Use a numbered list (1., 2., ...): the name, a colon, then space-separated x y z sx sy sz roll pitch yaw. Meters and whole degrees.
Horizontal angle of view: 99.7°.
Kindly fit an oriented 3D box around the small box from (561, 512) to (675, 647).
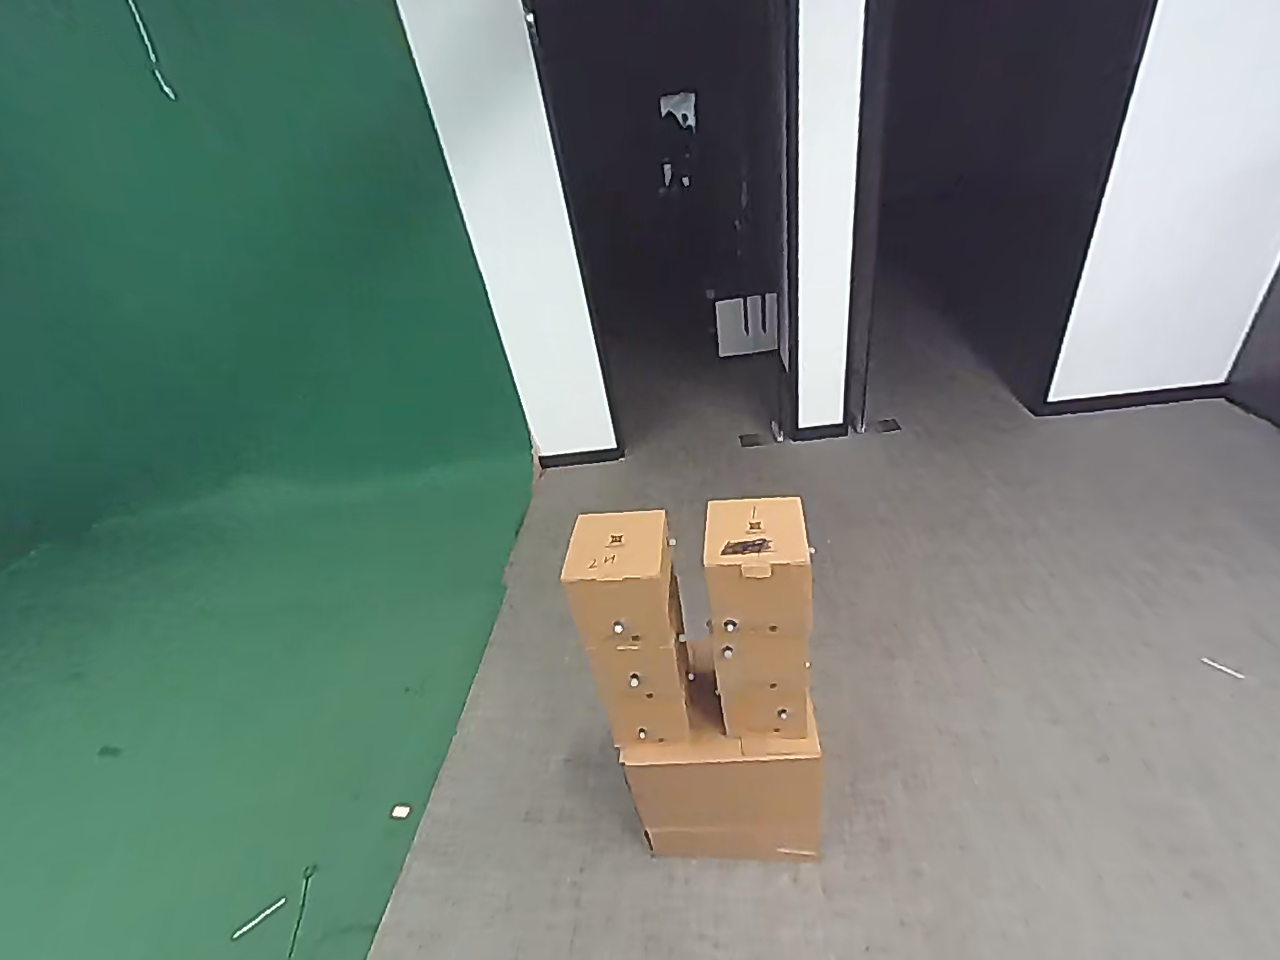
1. small box: -0.030 0.178 0.975 0.168 0.176 0.179 -4 35 10

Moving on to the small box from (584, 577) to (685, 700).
1. small box: -0.001 0.314 1.065 0.168 0.176 0.179 -4 36 9

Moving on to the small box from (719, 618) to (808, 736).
1. small box: 0.259 0.413 1.135 0.168 0.176 0.179 -4 33 12

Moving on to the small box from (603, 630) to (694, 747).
1. small box: 0.025 0.445 1.161 0.168 0.176 0.179 -5 35 8
